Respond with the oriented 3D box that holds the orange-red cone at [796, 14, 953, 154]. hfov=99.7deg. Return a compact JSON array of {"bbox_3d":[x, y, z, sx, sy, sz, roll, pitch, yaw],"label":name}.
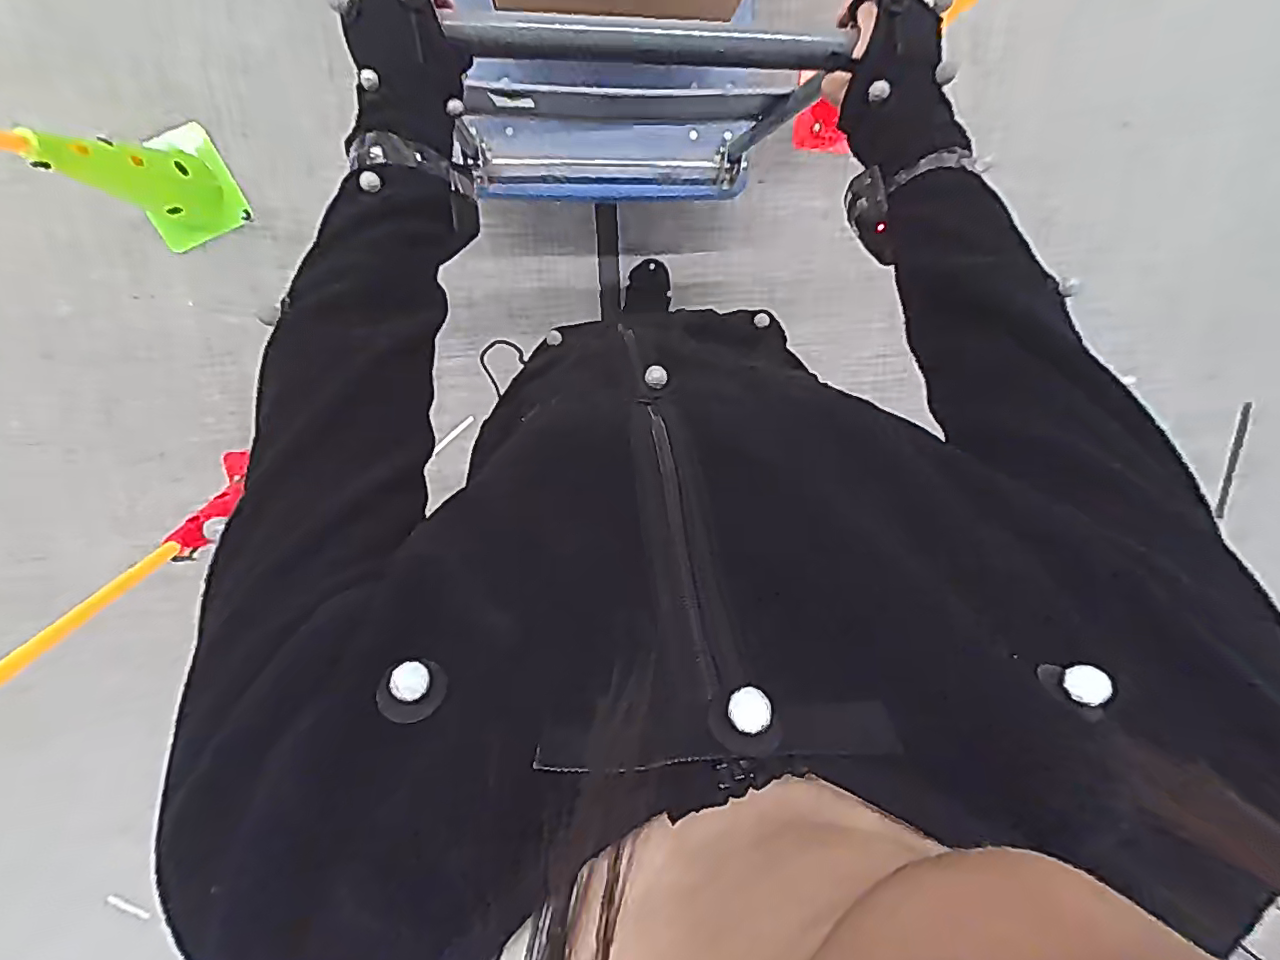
[{"bbox_3d":[0.476,-0.795,1.047,0.199,0.360,0.198,1,108,-8],"label":"orange-red cone"}]
